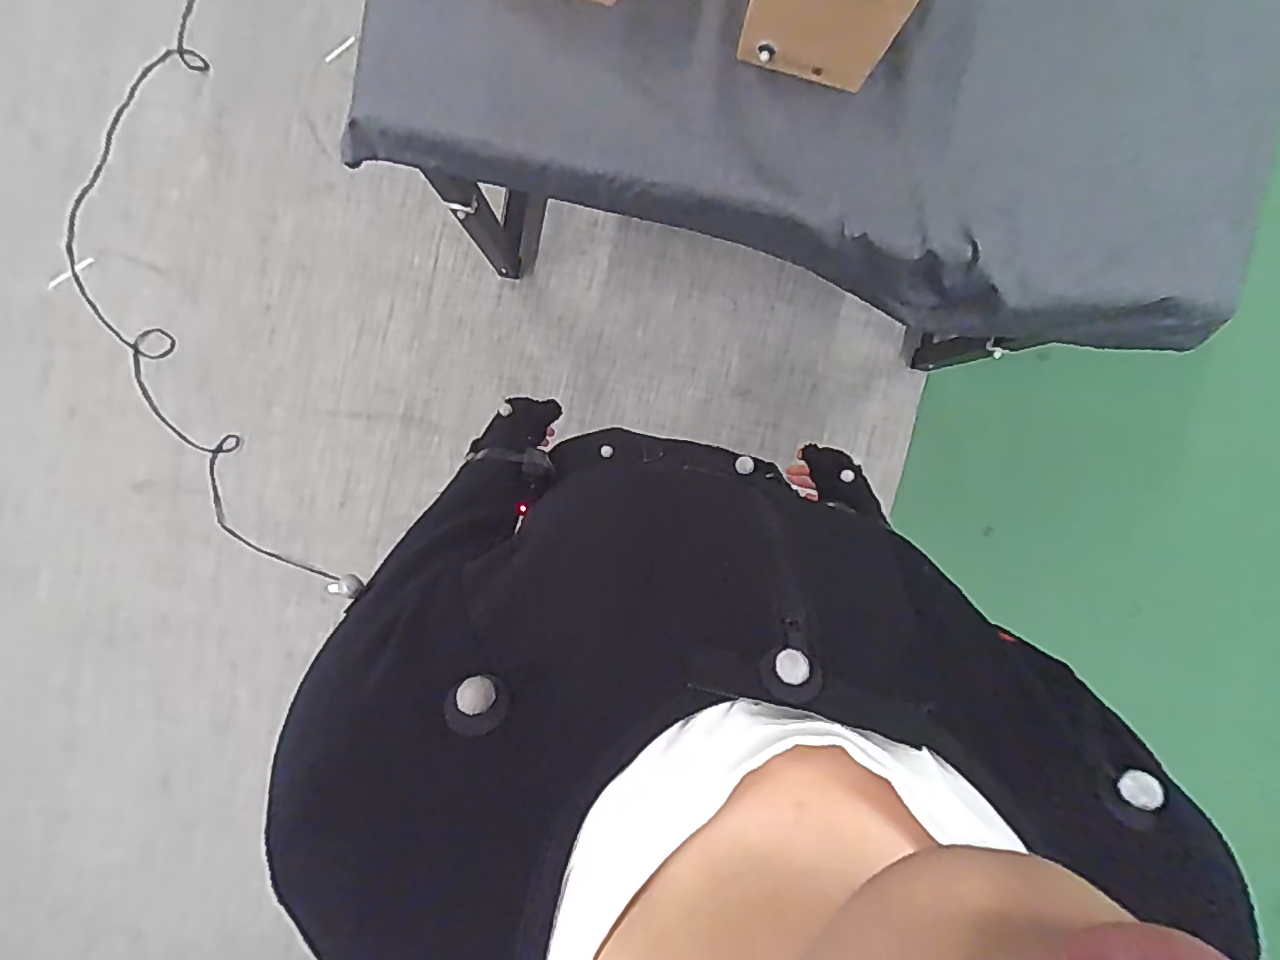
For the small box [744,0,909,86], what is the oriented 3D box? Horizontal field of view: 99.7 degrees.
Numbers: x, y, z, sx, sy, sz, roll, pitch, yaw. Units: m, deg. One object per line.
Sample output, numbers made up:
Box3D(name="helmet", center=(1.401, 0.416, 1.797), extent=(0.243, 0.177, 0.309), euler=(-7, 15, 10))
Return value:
Box3D(name="small box", center=(0.228, -0.605, 0.619), extent=(0.168, 0.176, 0.179), euler=(14, 93, -3))
